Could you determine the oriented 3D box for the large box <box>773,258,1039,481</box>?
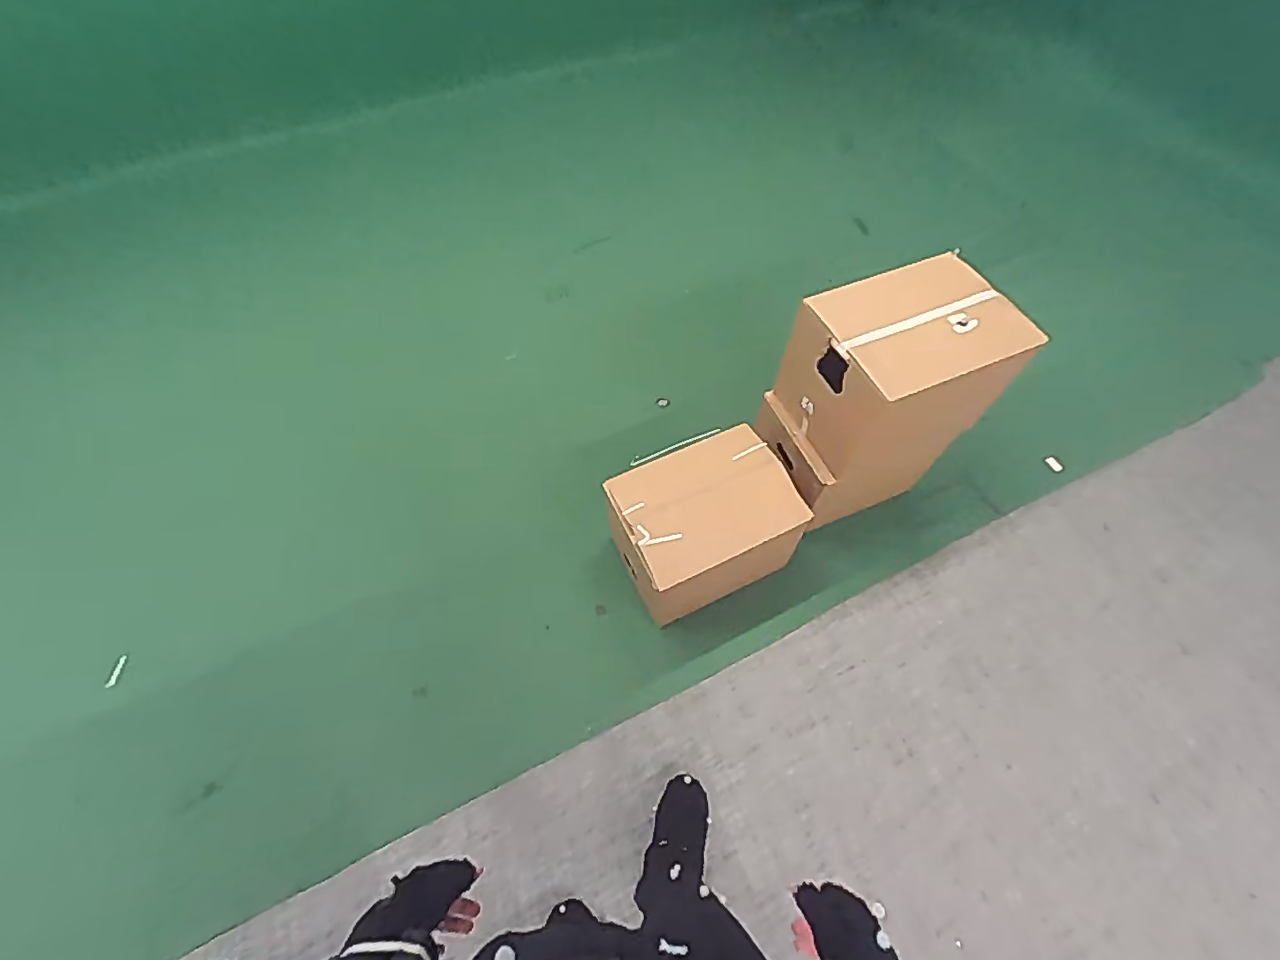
[{"bbox_3d":[0.589,-0.256,1.277,0.408,0.320,0.320,-21,62,-12],"label":"large box"}]
